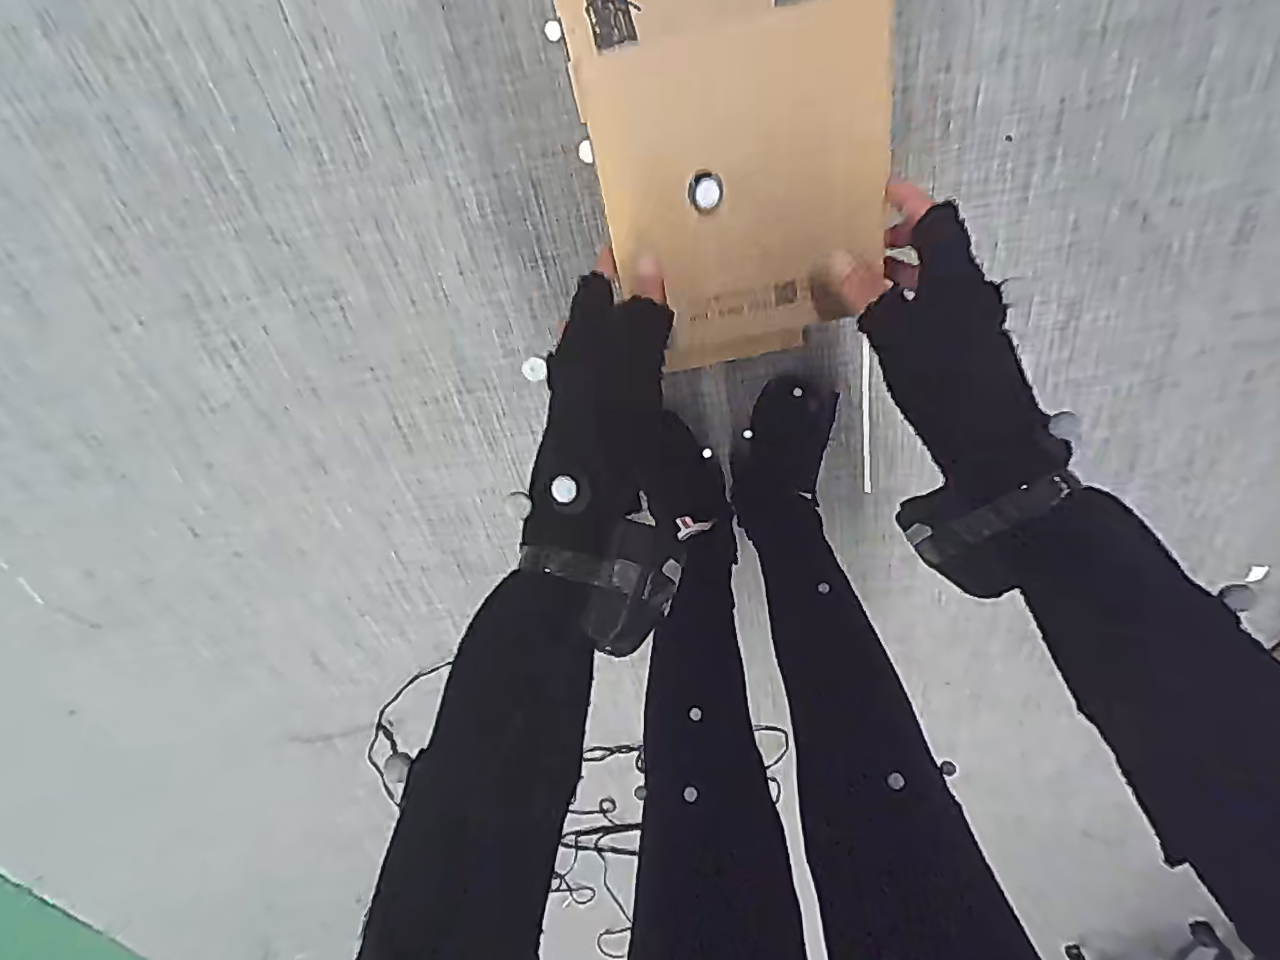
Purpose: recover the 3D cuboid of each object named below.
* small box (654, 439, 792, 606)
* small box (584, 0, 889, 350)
[{"bbox_3d":[0.120,0.060,0.823,0.168,0.176,0.179,-11,122,-3],"label":"small box"},{"bbox_3d":[0.067,-0.206,0.393,0.168,0.179,0.176,-10,123,7],"label":"small box"}]
